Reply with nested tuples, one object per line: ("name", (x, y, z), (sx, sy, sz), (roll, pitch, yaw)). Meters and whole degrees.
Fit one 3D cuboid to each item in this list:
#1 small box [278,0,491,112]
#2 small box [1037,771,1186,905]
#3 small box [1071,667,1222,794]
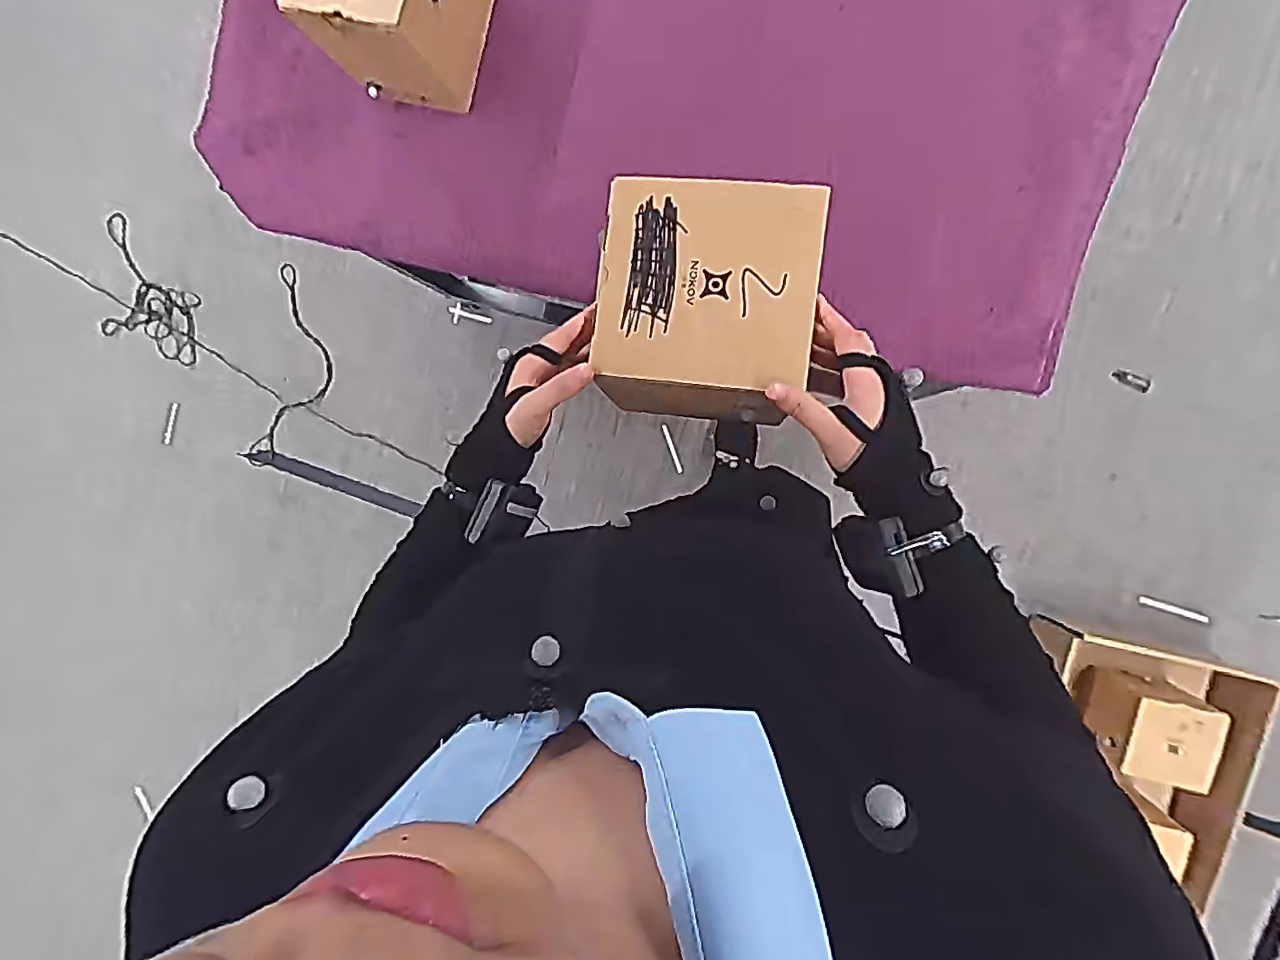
("small box", (-0.313, -0.618, 0.695), (0.168, 0.176, 0.179), (17, 96, 8))
("small box", (1.061, 0.802, 1.232), (0.179, 0.176, 0.168), (13, 94, 9))
("small box", (1.114, 0.549, 1.207), (0.168, 0.176, 0.179), (11, 96, 8))
